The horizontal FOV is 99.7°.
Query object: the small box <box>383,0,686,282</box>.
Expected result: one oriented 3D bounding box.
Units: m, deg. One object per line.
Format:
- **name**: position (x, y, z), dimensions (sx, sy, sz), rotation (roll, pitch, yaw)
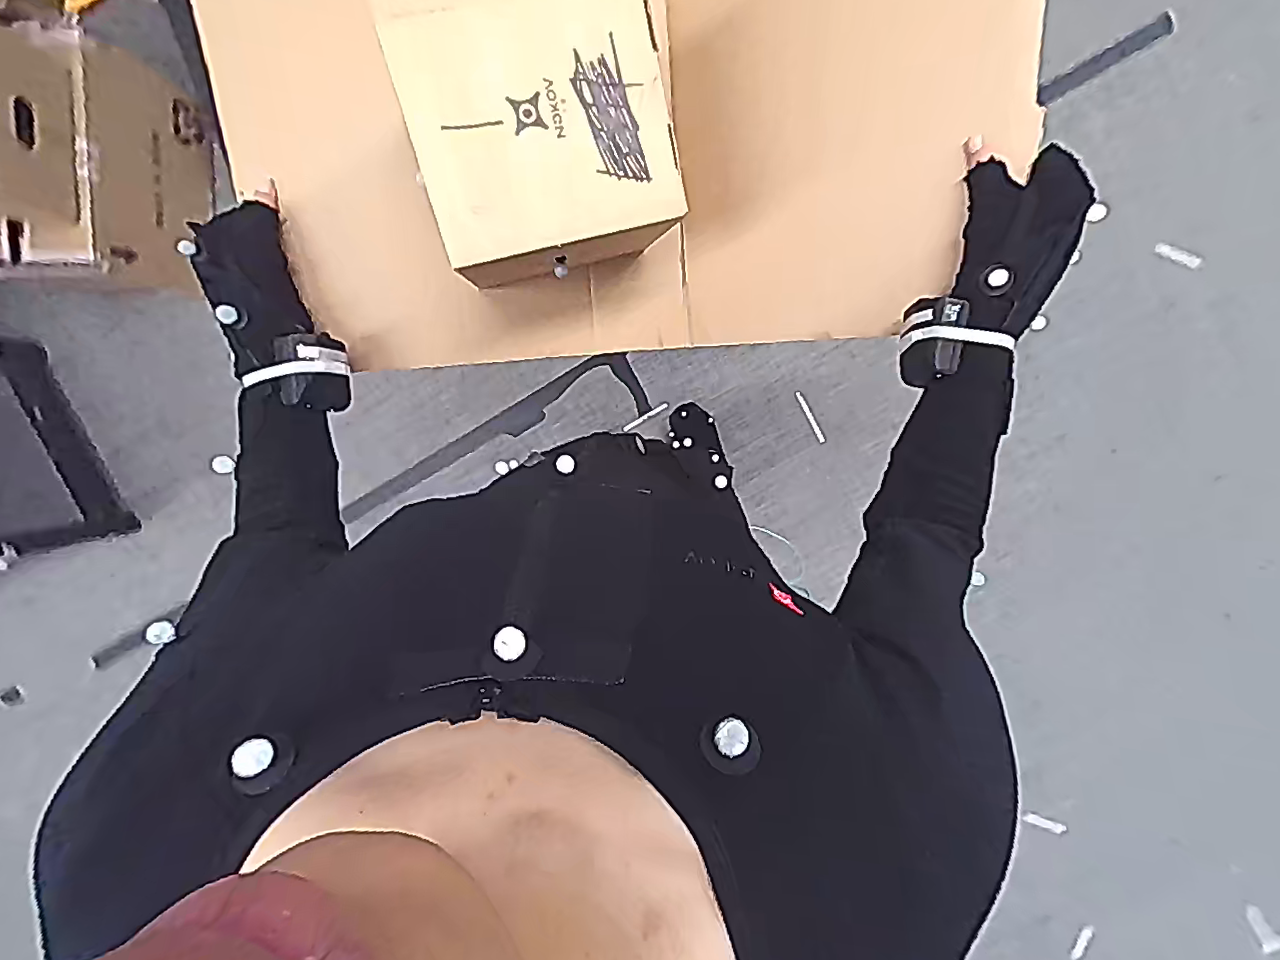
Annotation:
- **small box**: position (-0.078, -0.270, 0.447), dimensions (0.179, 0.176, 0.168), rotation (-15, 107, -6)
